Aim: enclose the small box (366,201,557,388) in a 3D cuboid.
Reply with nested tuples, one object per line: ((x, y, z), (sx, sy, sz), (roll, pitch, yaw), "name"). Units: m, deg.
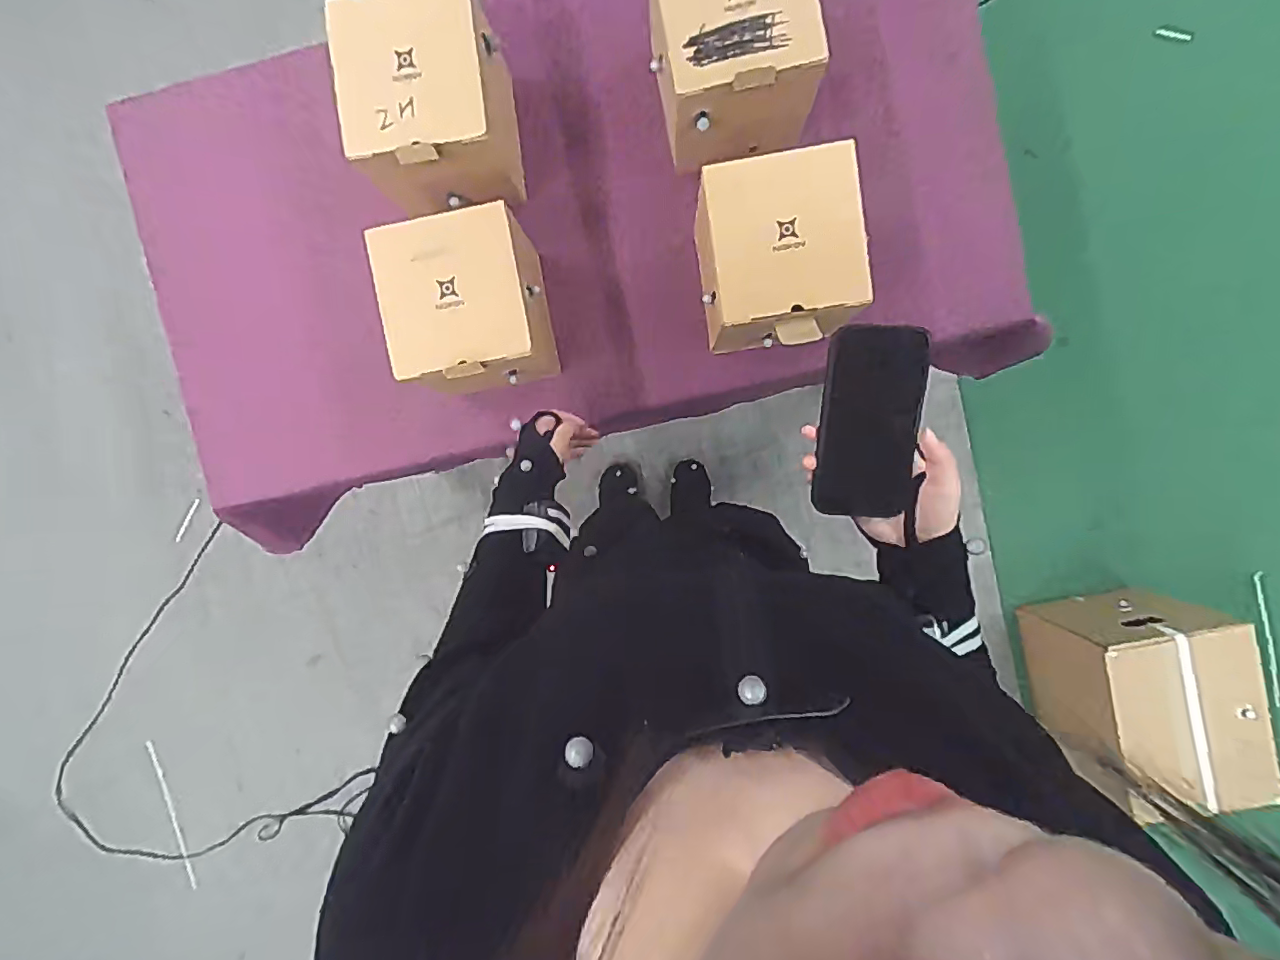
((-0.213, -0.219, 0.691), (0.168, 0.176, 0.179), (-10, 92, 3), "small box")

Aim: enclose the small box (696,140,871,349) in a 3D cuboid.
((0.163, -0.273, 0.665), (0.168, 0.176, 0.179), (-8, 93, 4), "small box")

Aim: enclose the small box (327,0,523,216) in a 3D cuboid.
((-0.254, -0.462, 0.676), (0.168, 0.176, 0.179), (-6, 94, 4), "small box")
